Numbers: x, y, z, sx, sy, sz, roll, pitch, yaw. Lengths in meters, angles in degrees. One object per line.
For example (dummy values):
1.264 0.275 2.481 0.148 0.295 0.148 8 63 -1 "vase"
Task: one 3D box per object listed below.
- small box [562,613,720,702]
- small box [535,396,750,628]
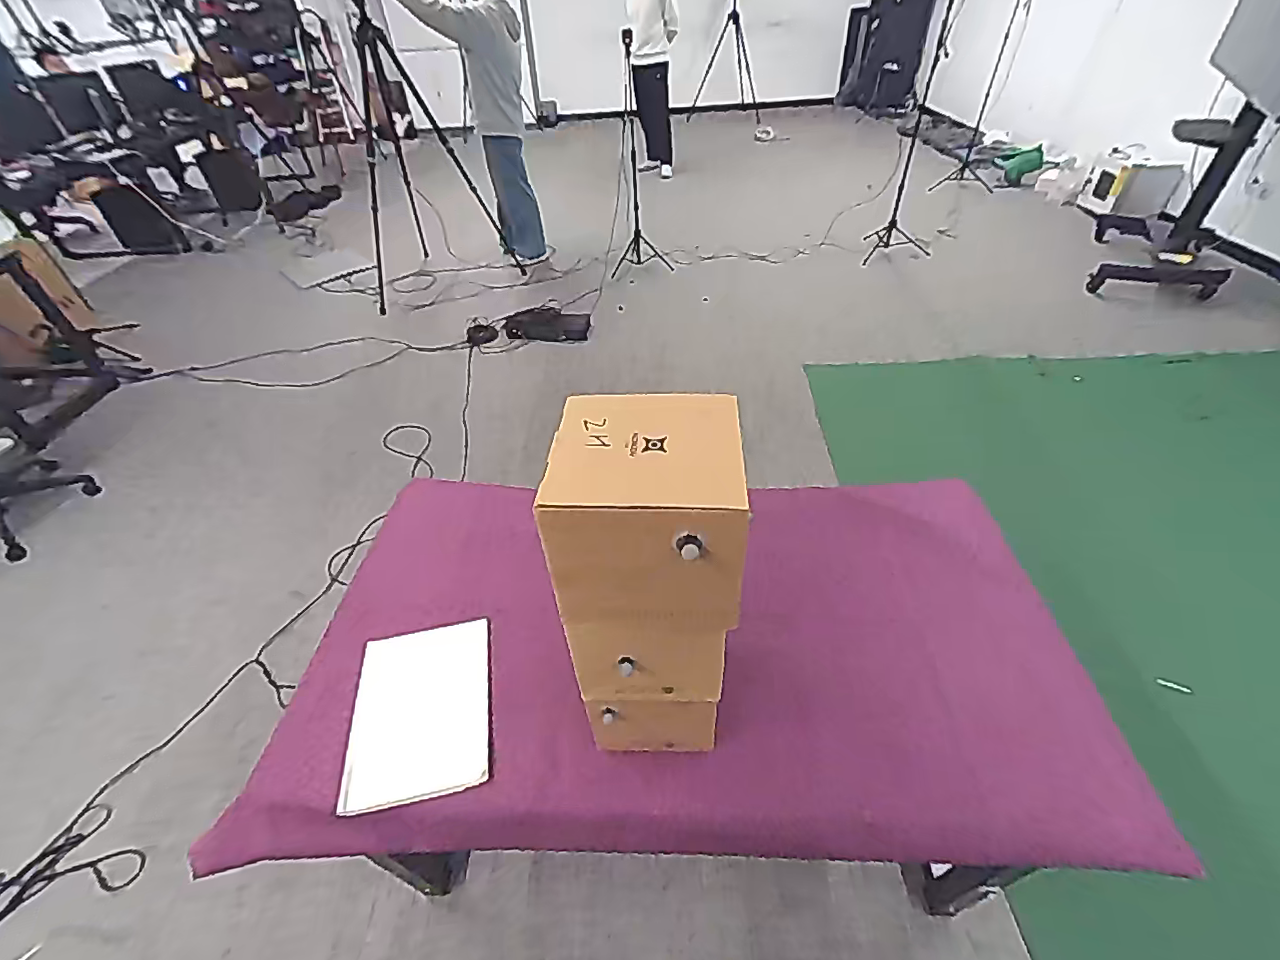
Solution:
0.010 0.152 0.658 0.168 0.176 0.179 -1 41 4 "small box"
0.010 0.032 0.544 0.179 0.176 0.168 1 41 5 "small box"
